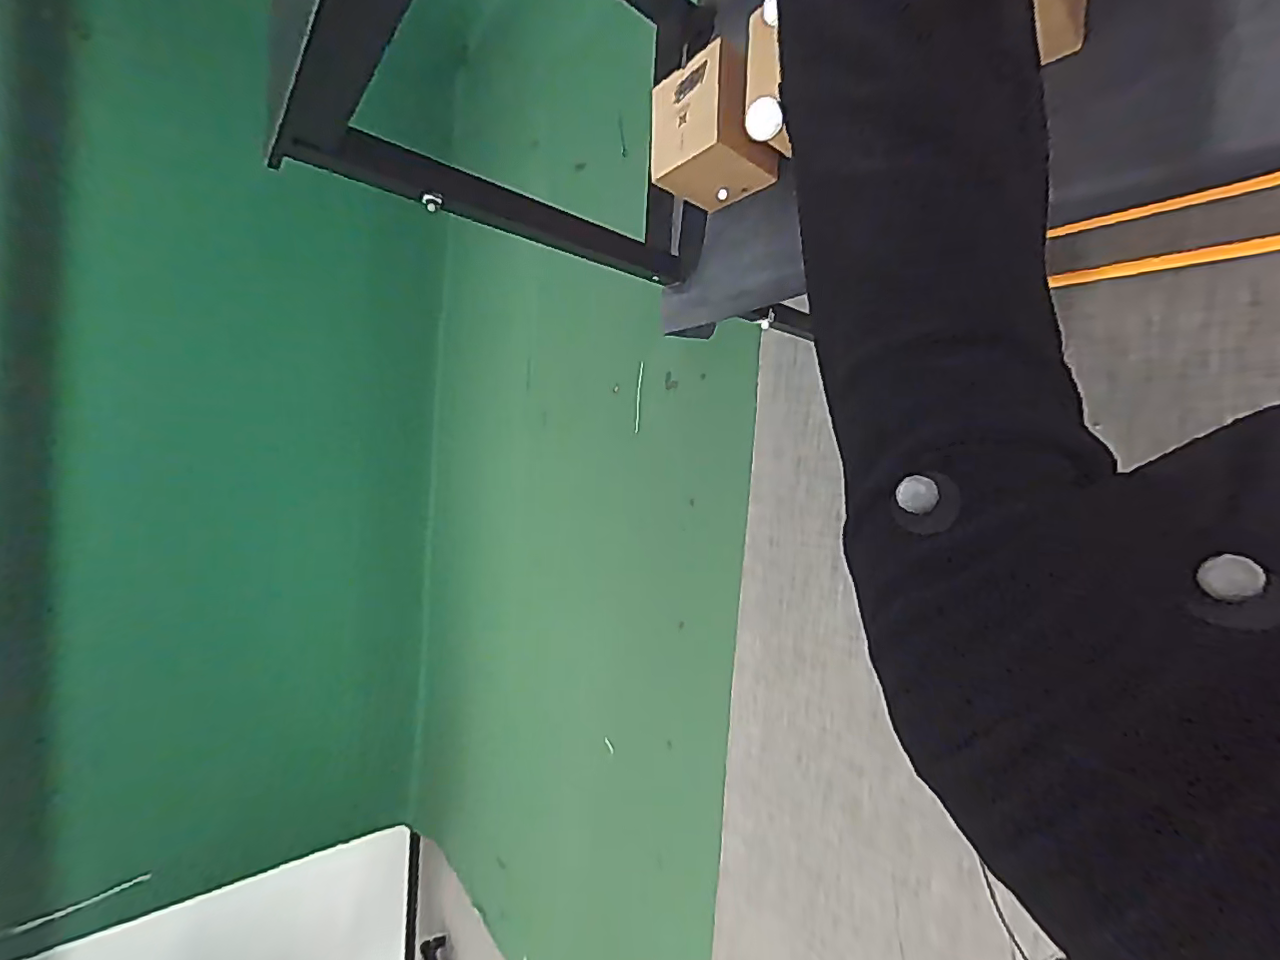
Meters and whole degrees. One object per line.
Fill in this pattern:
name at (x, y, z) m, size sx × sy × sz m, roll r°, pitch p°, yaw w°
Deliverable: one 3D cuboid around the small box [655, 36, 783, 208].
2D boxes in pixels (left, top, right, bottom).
small box at (0.146, -0.637, 0.990) m, size 0.168 × 0.176 × 0.179 m, roll 2°, pitch 90°, yaw 51°
